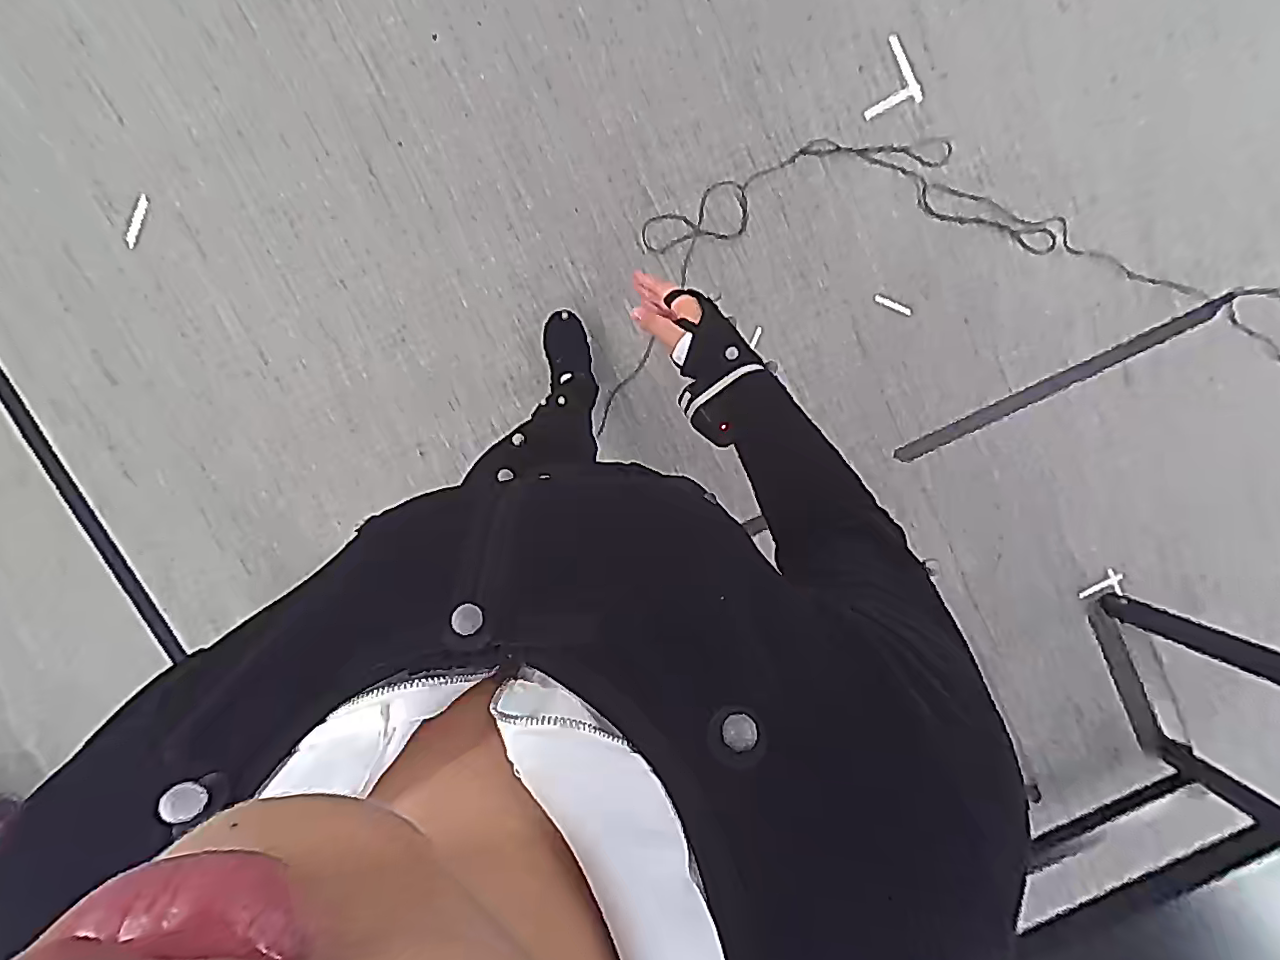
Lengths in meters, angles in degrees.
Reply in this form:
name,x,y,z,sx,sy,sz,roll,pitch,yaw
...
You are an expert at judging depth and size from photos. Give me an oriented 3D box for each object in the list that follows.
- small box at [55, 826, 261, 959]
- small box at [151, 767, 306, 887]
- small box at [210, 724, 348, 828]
name,x,y,z,sx,sy,sz,roll,pitch,yaw
small box,-0.825,0.751,0.947,0.168,0.176,0.179,-27,96,0
small box,-0.830,0.734,1.110,0.179,0.176,0.168,-27,96,1
small box,-0.836,0.717,1.272,0.179,0.176,0.168,-26,97,-1
